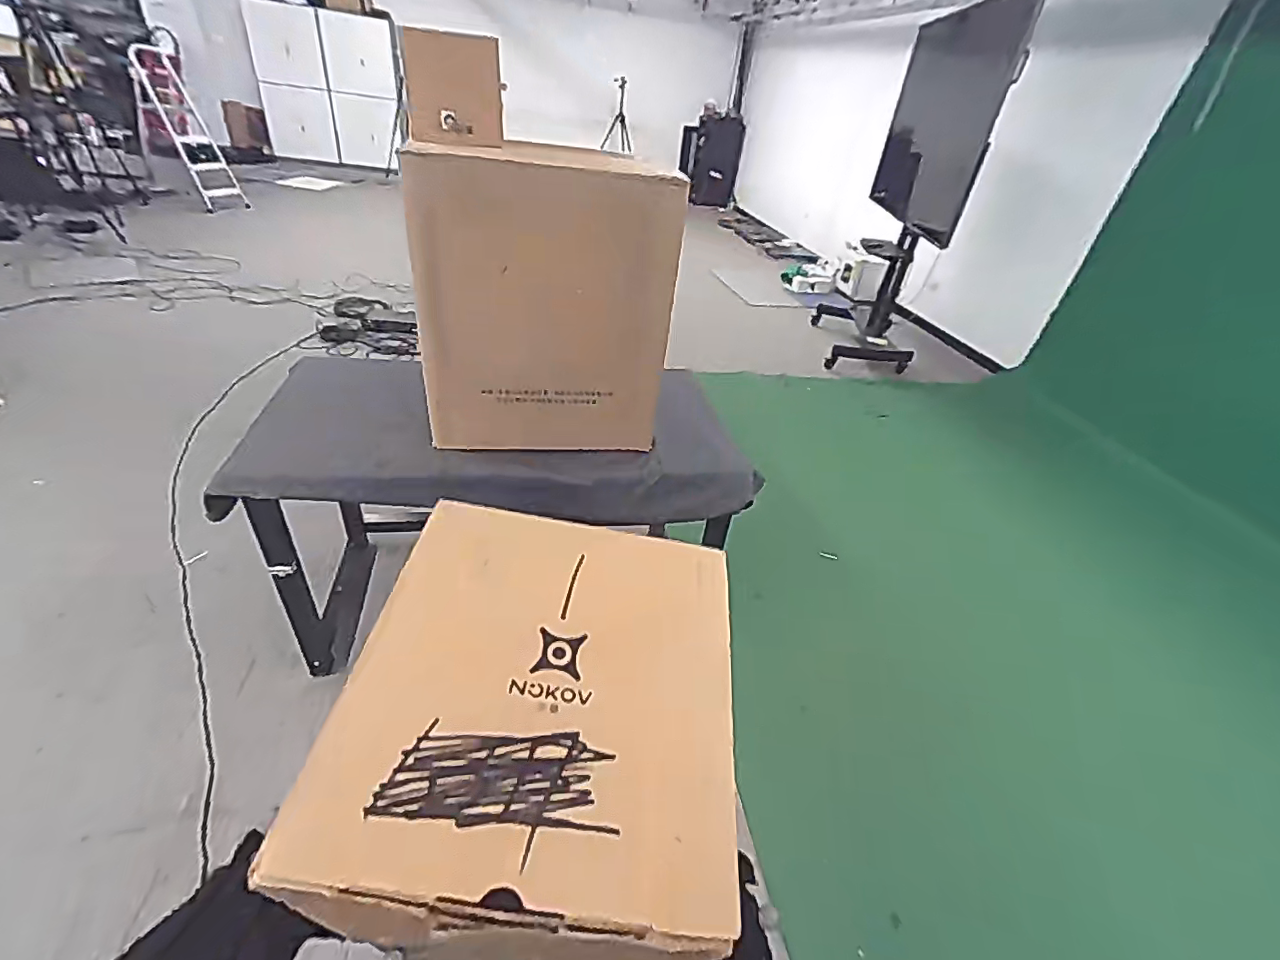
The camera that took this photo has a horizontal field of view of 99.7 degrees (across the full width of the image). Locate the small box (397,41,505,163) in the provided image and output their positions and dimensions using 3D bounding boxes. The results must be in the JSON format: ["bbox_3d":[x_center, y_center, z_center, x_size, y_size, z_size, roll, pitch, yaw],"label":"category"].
[{"bbox_3d":[-0.351,-0.717,1.026,0.168,0.176,0.179,-6,40,-13],"label":"small box"}]

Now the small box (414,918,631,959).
[{"bbox_3d":[-0.075,0.249,0.425,0.168,0.176,0.179,6,43,-5],"label":"small box"}]

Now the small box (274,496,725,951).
[{"bbox_3d":[-0.052,0.138,0.305,0.168,0.176,0.179,9,43,-2],"label":"small box"}]
